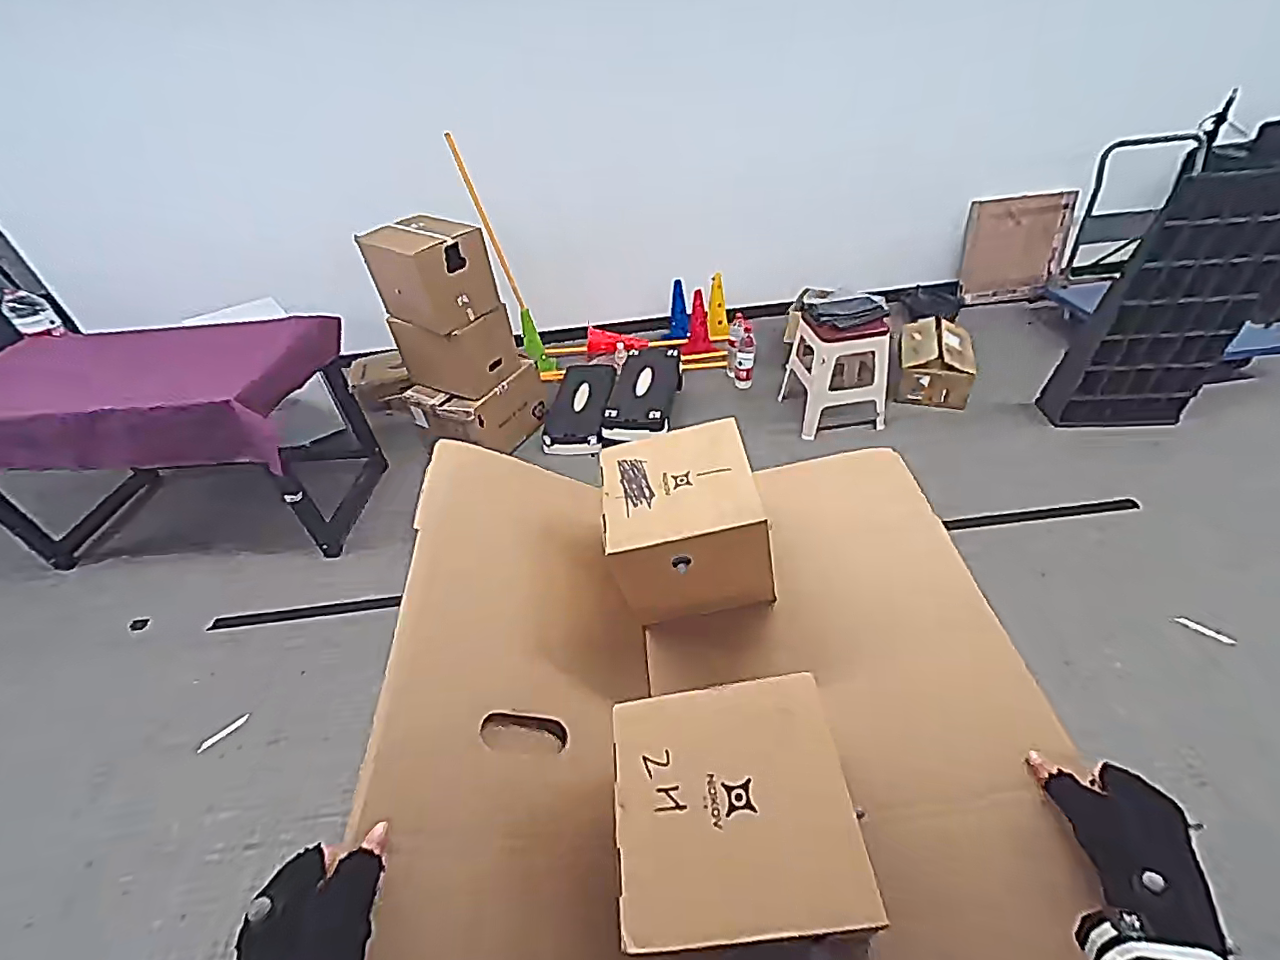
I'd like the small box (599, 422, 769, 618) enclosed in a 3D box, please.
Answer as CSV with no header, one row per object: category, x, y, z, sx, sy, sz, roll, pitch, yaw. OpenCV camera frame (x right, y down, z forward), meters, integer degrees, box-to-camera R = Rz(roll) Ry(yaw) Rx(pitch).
small box,0.057,0.057,0.691,0.179,0.176,0.168,-13,47,6

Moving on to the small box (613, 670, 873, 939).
small box,0.084,0.289,0.475,0.179,0.176,0.168,-13,47,8
